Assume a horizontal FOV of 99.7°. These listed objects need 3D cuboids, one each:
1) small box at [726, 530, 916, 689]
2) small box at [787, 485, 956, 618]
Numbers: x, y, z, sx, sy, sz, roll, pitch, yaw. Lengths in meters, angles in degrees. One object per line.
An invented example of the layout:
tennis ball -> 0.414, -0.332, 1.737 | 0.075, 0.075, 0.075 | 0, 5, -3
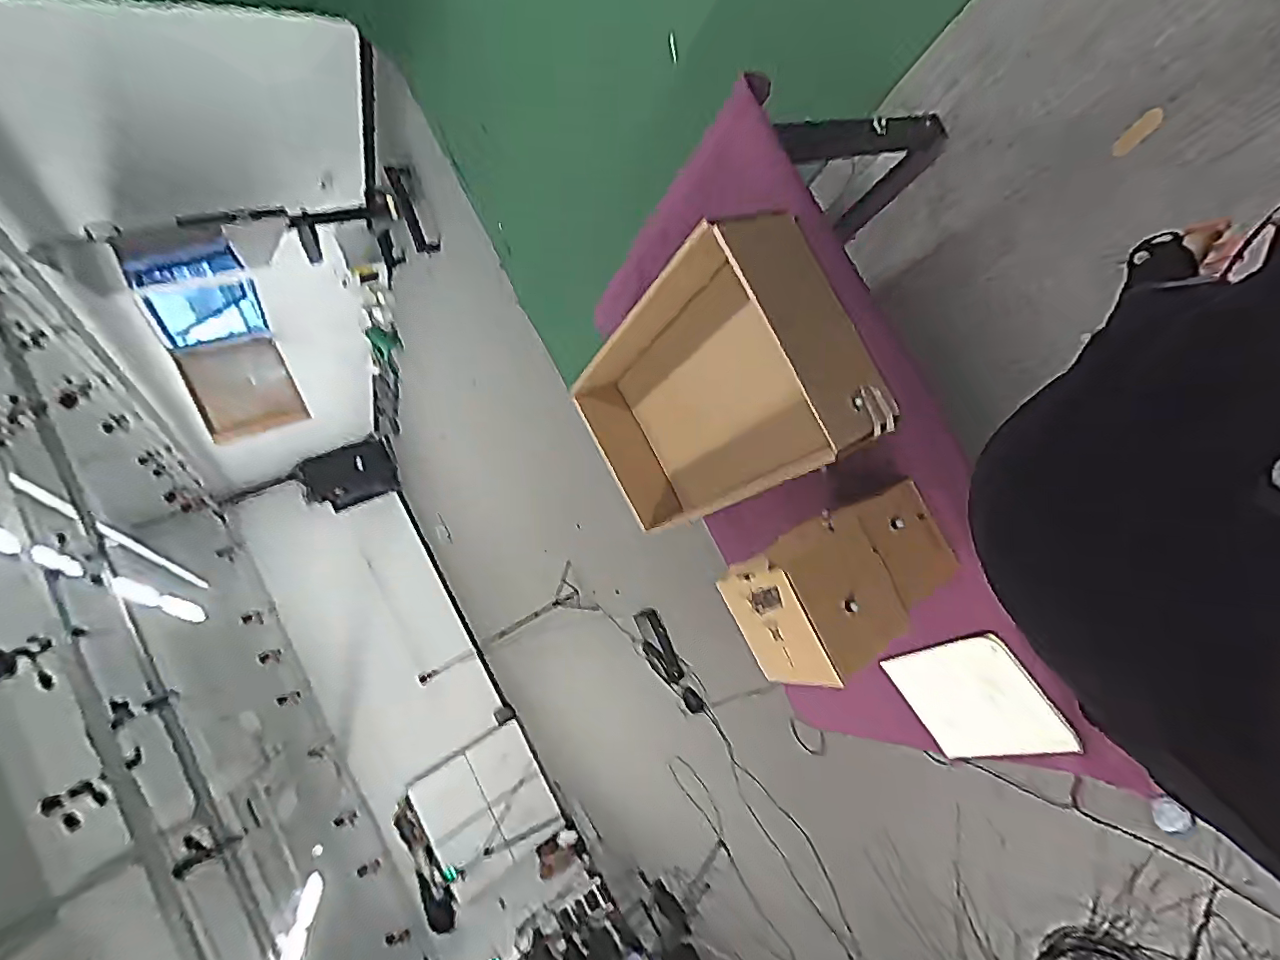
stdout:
small box -> 0.269, 0.188, 0.814 | 0.179, 0.176, 0.168 | 63, 151, 4
small box -> 0.391, 0.126, 0.905 | 0.168, 0.176, 0.179 | 63, 151, 4
